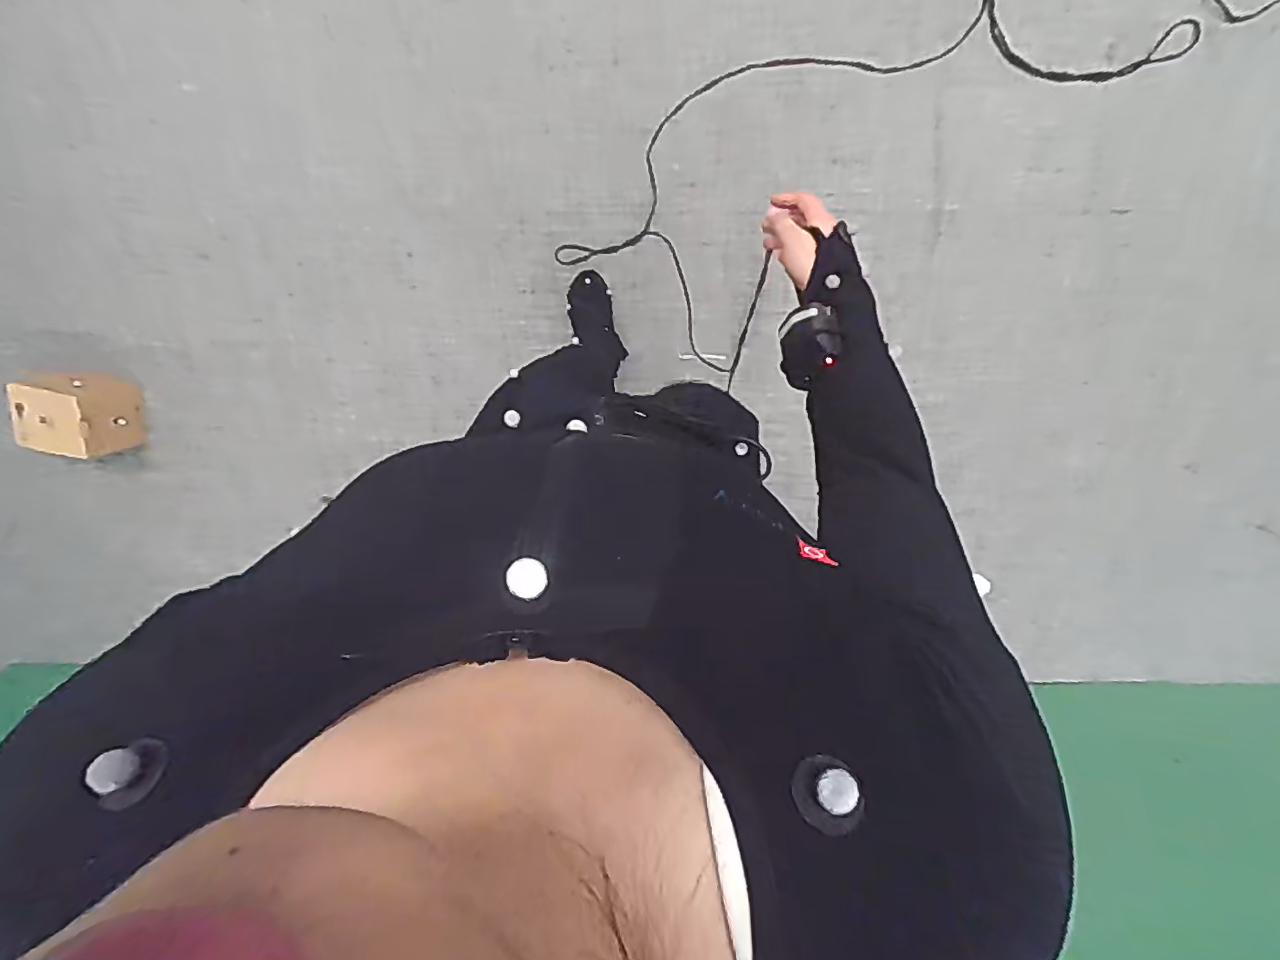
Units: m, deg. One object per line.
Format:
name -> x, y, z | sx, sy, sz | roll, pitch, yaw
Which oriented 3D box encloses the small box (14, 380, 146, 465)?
small box -> -1.437, -0.154, 1.406 | 0.179, 0.176, 0.168 | 12, 109, -3
